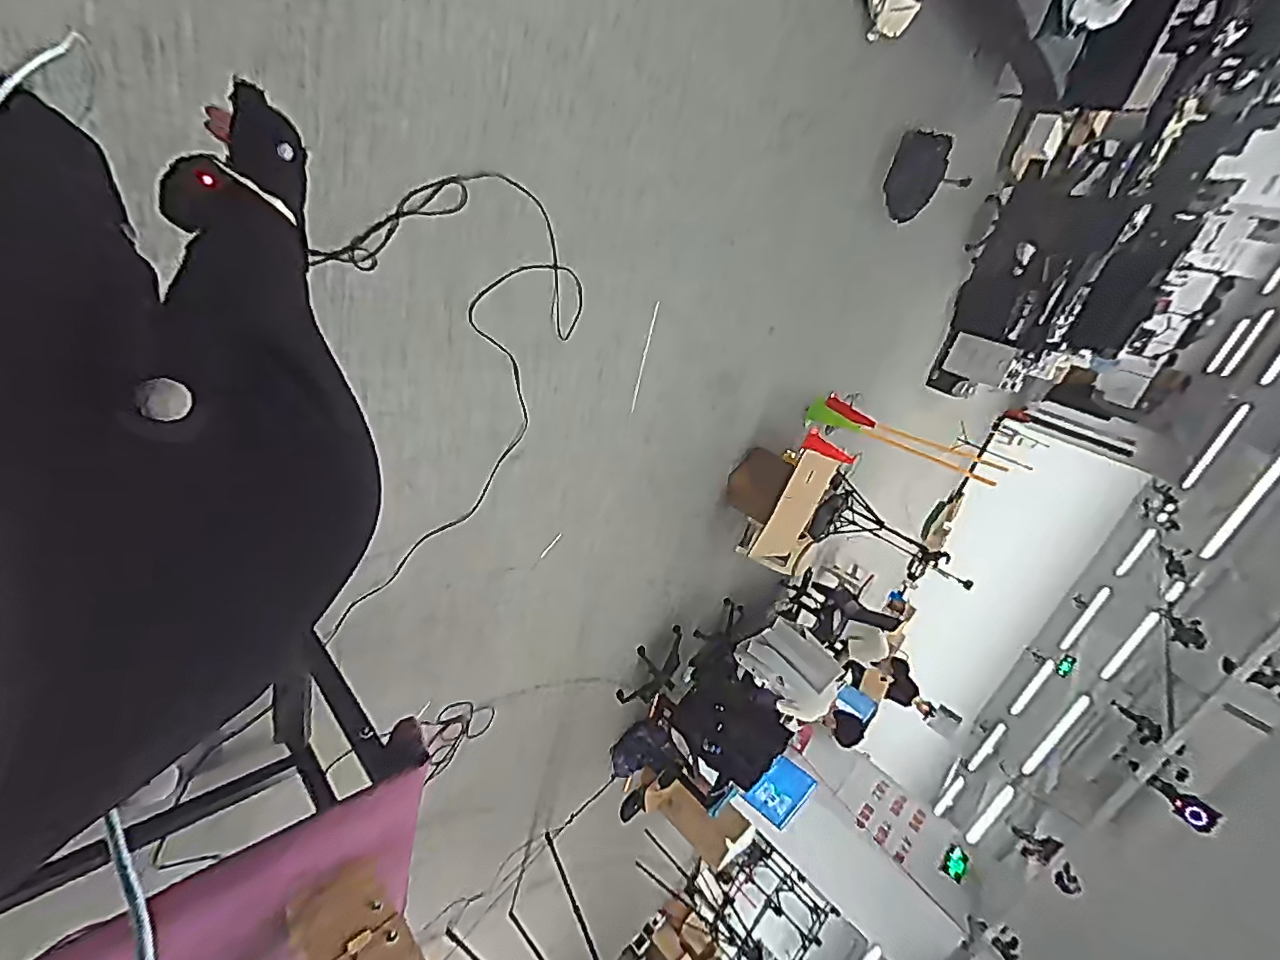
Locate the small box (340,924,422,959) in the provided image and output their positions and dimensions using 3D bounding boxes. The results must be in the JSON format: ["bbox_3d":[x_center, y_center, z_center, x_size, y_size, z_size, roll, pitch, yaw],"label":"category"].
[{"bbox_3d":[-0.535,1.057,1.090,0.168,0.176,0.179,-9,124,-46],"label":"small box"}]
